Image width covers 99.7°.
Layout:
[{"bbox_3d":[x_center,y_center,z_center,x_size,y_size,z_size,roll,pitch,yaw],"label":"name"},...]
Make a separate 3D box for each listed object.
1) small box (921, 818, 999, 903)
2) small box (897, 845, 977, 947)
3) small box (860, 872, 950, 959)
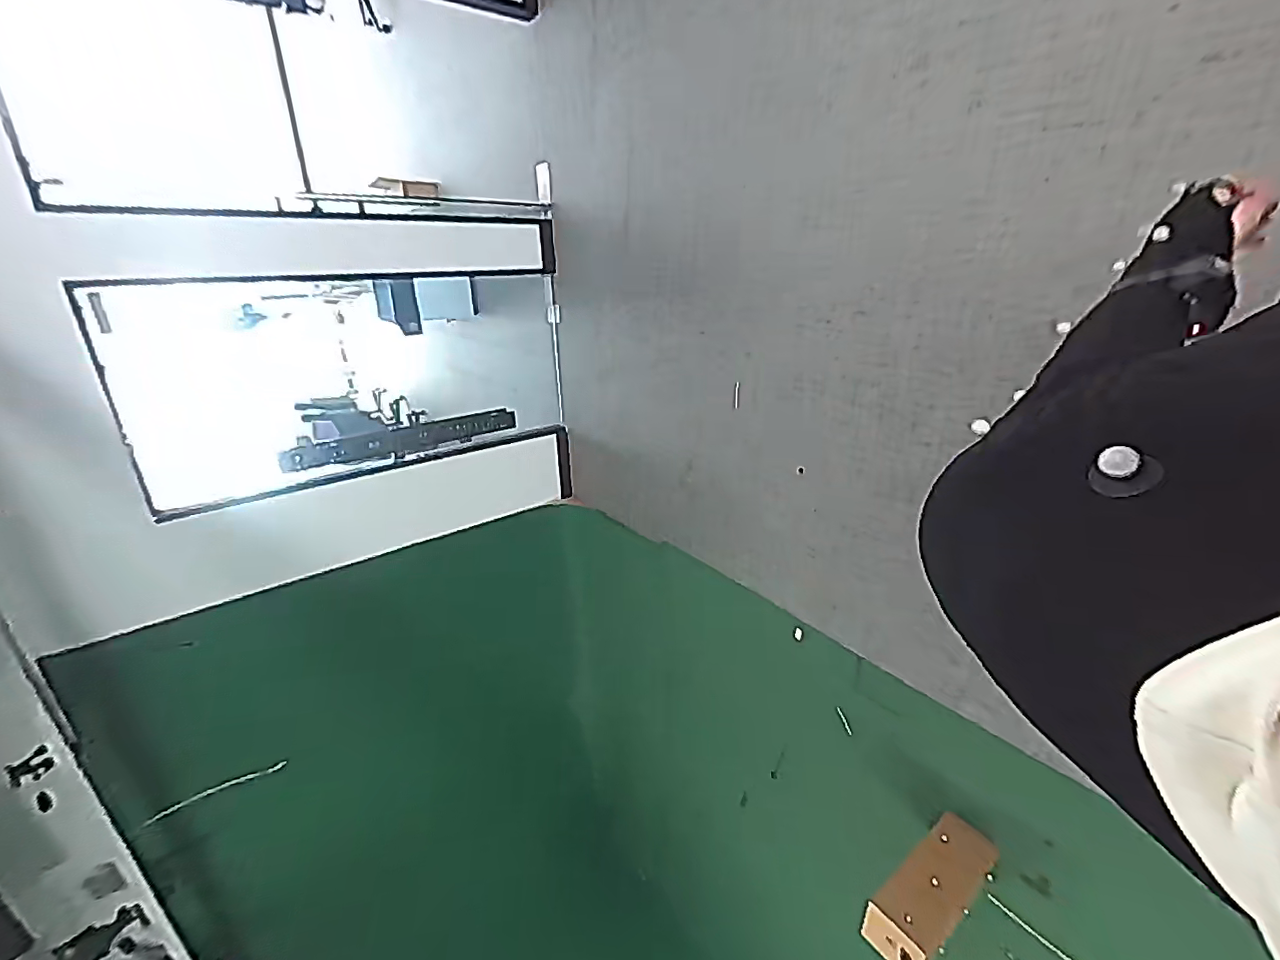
[{"bbox_3d":[1.071,1.289,1.831,0.179,0.176,0.168,29,126,47],"label":"small box"},{"bbox_3d":[0.941,1.323,1.739,0.179,0.176,0.168,27,124,47],"label":"small box"},{"bbox_3d":[0.809,1.361,1.649,0.179,0.176,0.168,28,124,48],"label":"small box"}]
